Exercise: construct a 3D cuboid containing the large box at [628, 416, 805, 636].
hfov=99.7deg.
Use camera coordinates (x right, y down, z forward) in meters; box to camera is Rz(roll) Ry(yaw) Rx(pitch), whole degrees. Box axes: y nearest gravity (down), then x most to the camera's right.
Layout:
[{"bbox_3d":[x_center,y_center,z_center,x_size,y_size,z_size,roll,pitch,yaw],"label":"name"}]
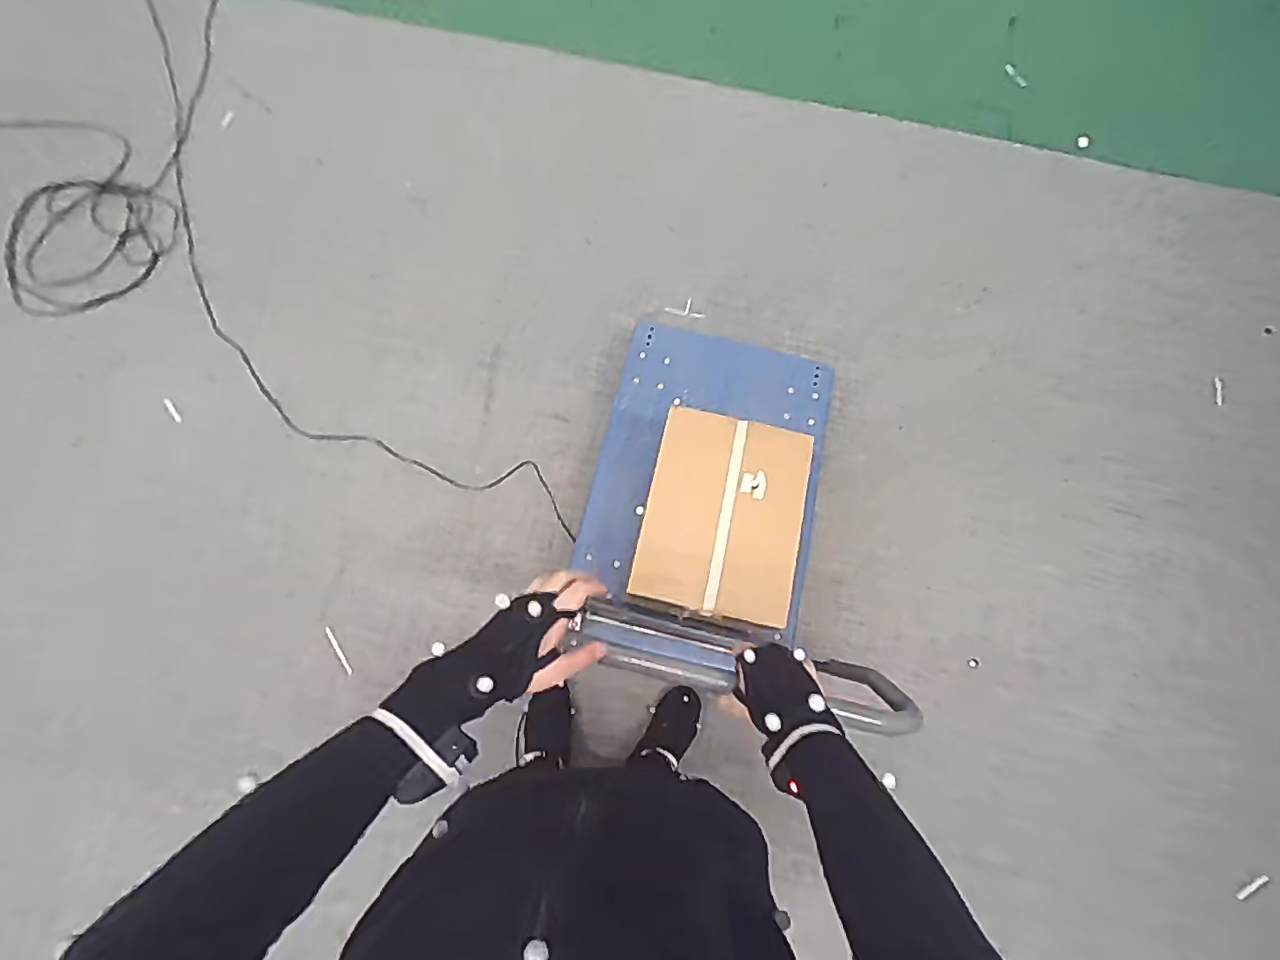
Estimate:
[{"bbox_3d":[0.159,0.122,1.239,0.320,0.320,0.408,13,73,1],"label":"large box"}]
